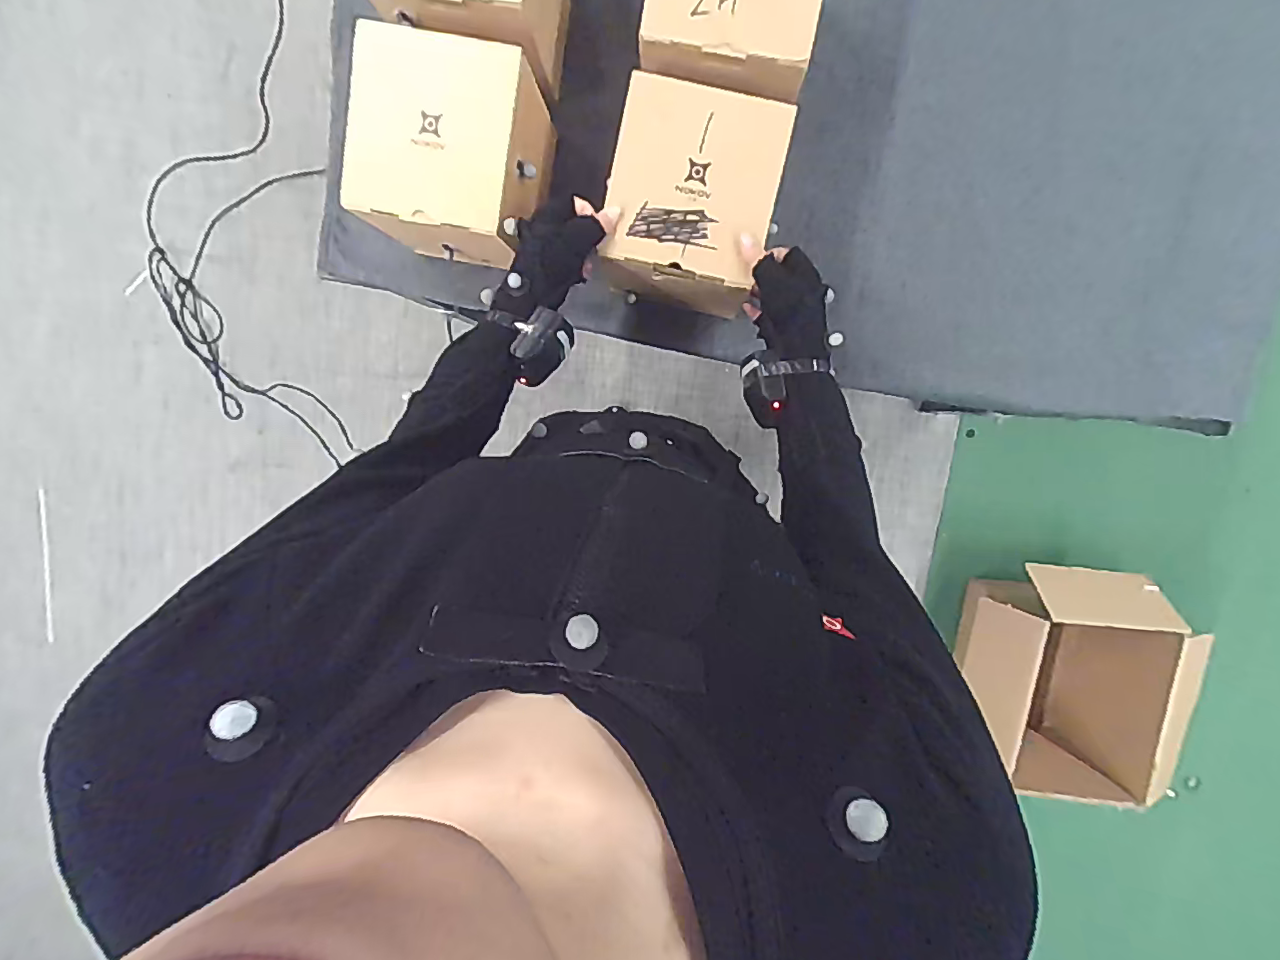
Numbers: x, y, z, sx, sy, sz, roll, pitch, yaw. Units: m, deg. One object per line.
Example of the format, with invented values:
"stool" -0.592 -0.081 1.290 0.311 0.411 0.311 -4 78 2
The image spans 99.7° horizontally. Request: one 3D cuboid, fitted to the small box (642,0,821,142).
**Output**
"small box" 0.098 -0.506 0.580 0.168 0.176 0.179 11 98 1
